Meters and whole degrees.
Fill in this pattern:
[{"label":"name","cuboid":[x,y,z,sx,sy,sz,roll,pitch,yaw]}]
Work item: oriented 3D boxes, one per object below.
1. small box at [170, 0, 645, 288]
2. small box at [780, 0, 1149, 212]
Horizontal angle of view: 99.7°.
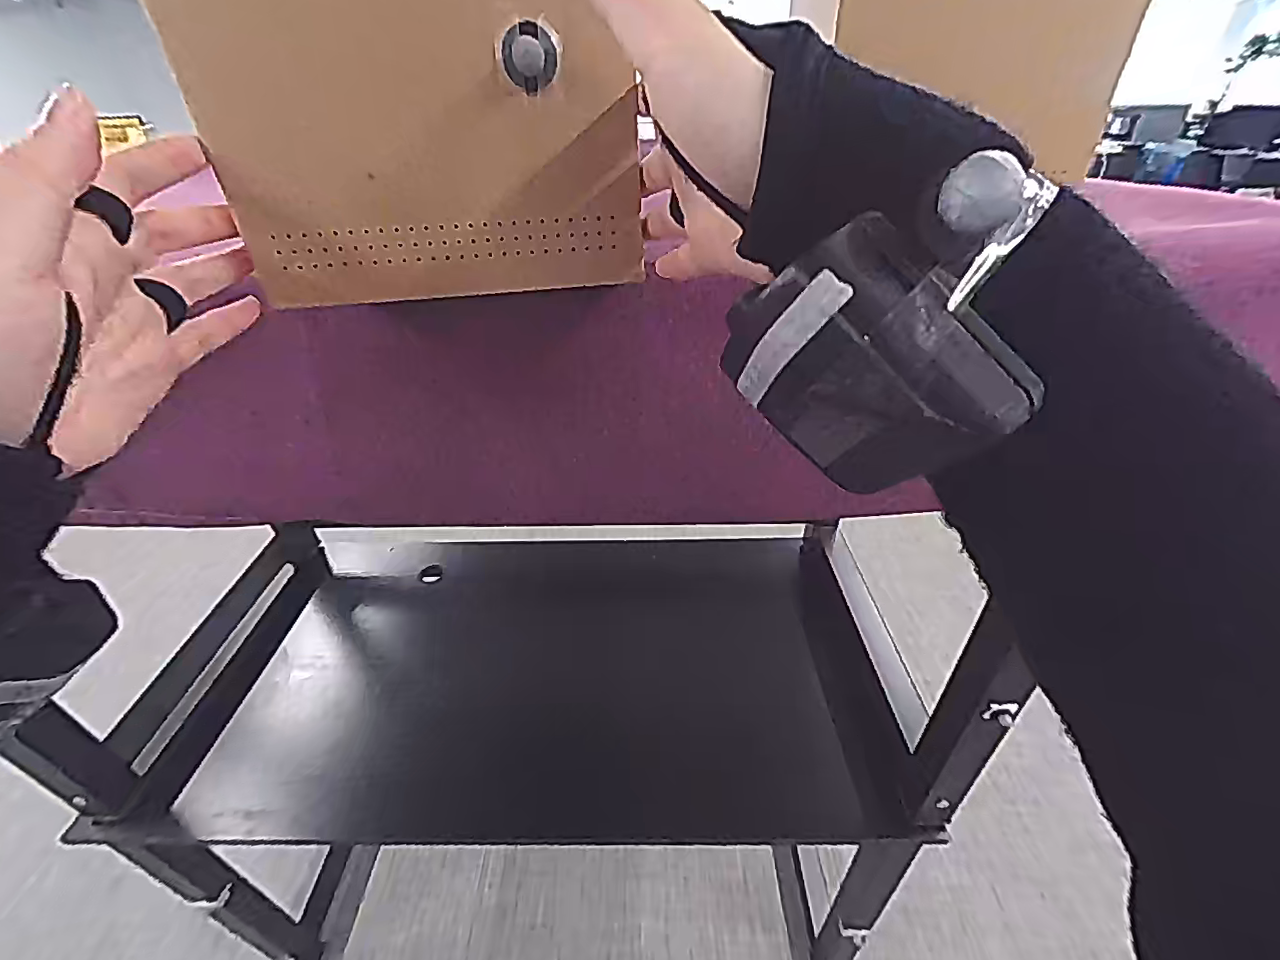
[{"label":"small box","cuboid":[-0.093,-0.207,0.275,0.179,0.176,0.168,-7,34,-6]},{"label":"small box","cuboid":[0.209,-0.297,0.384,0.179,0.176,0.168,0,34,3]}]
